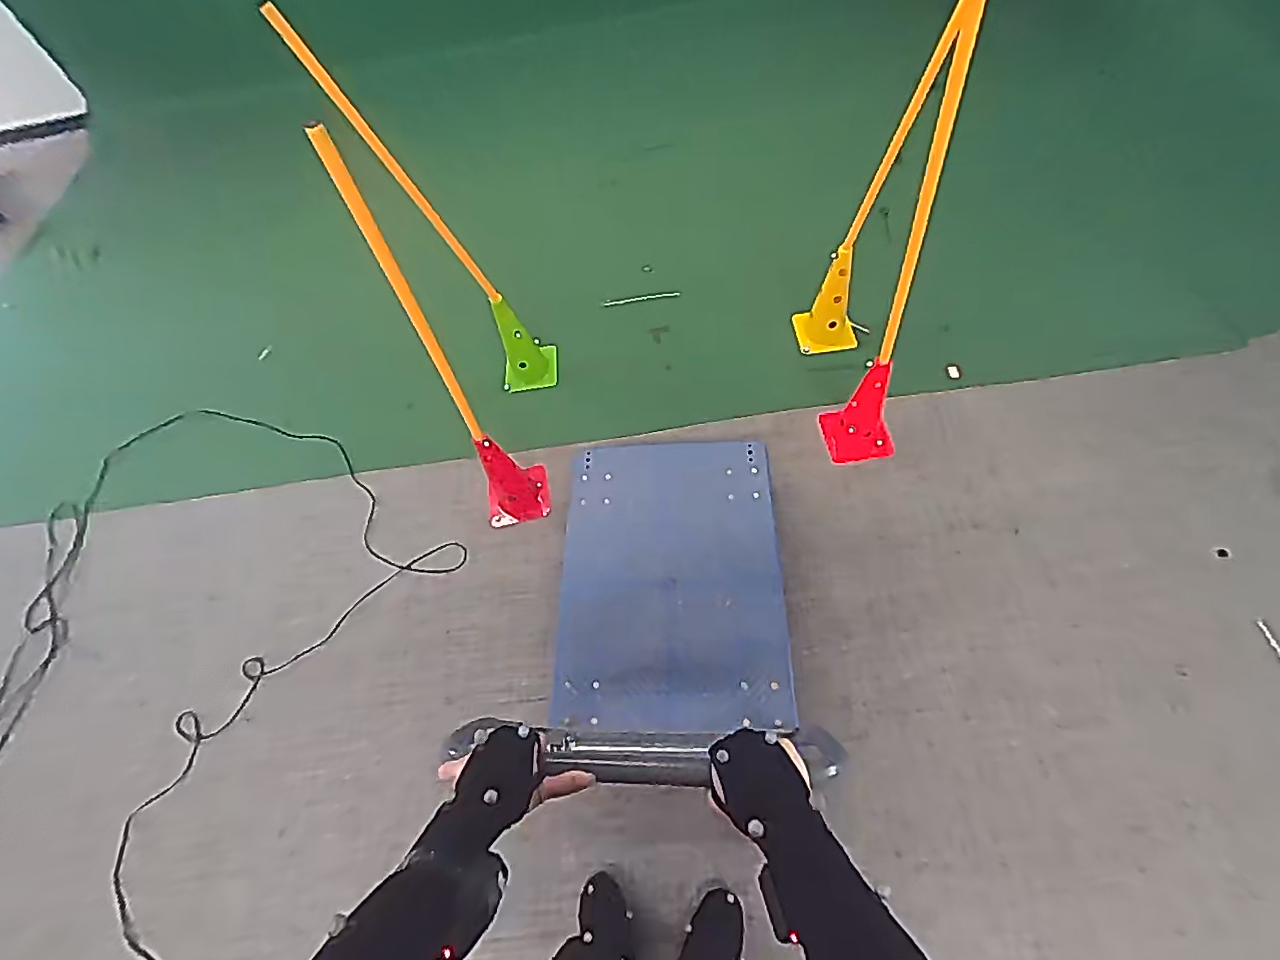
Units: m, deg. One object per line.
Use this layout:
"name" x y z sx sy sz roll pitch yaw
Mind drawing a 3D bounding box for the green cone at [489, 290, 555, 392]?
"green cone" -0.443 -0.506 1.899 0.200 0.368 0.202 -8 59 4

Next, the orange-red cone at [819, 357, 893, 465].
"orange-red cone" 0.671 -0.225 1.589 0.198 0.360 0.199 -7 58 3
